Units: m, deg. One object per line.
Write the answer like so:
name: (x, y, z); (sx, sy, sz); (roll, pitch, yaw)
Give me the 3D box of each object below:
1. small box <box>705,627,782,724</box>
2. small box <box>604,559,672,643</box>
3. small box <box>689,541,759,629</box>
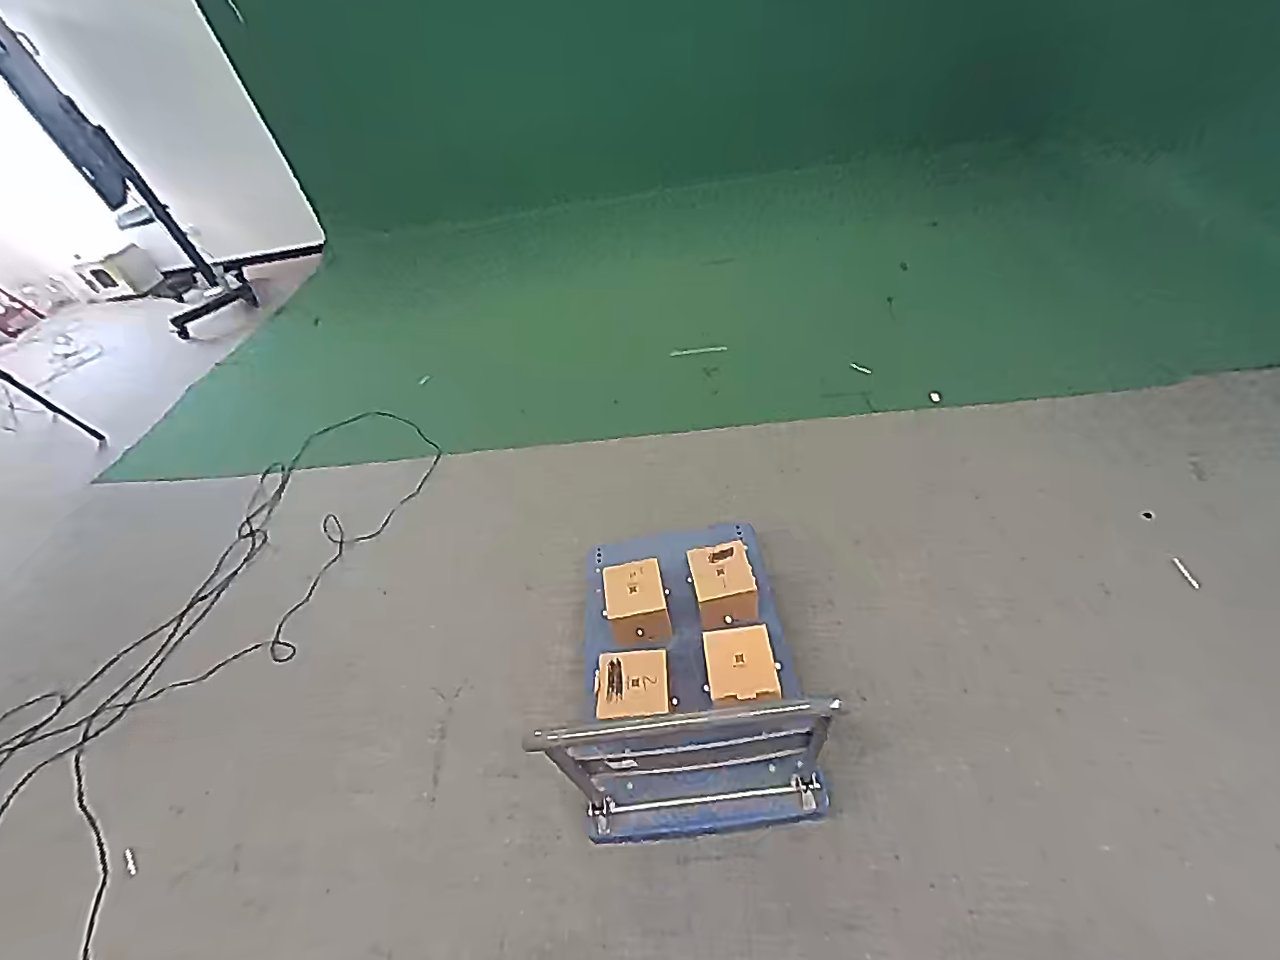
small box: (0.261, 0.503, 1.390); (0.168, 0.176, 0.179); (-8, 46, 4)
small box: (-0.004, 0.360, 1.584); (0.168, 0.176, 0.179); (-11, 46, 1)
small box: (0.243, 0.309, 1.578); (0.168, 0.176, 0.179); (-12, 46, 2)
